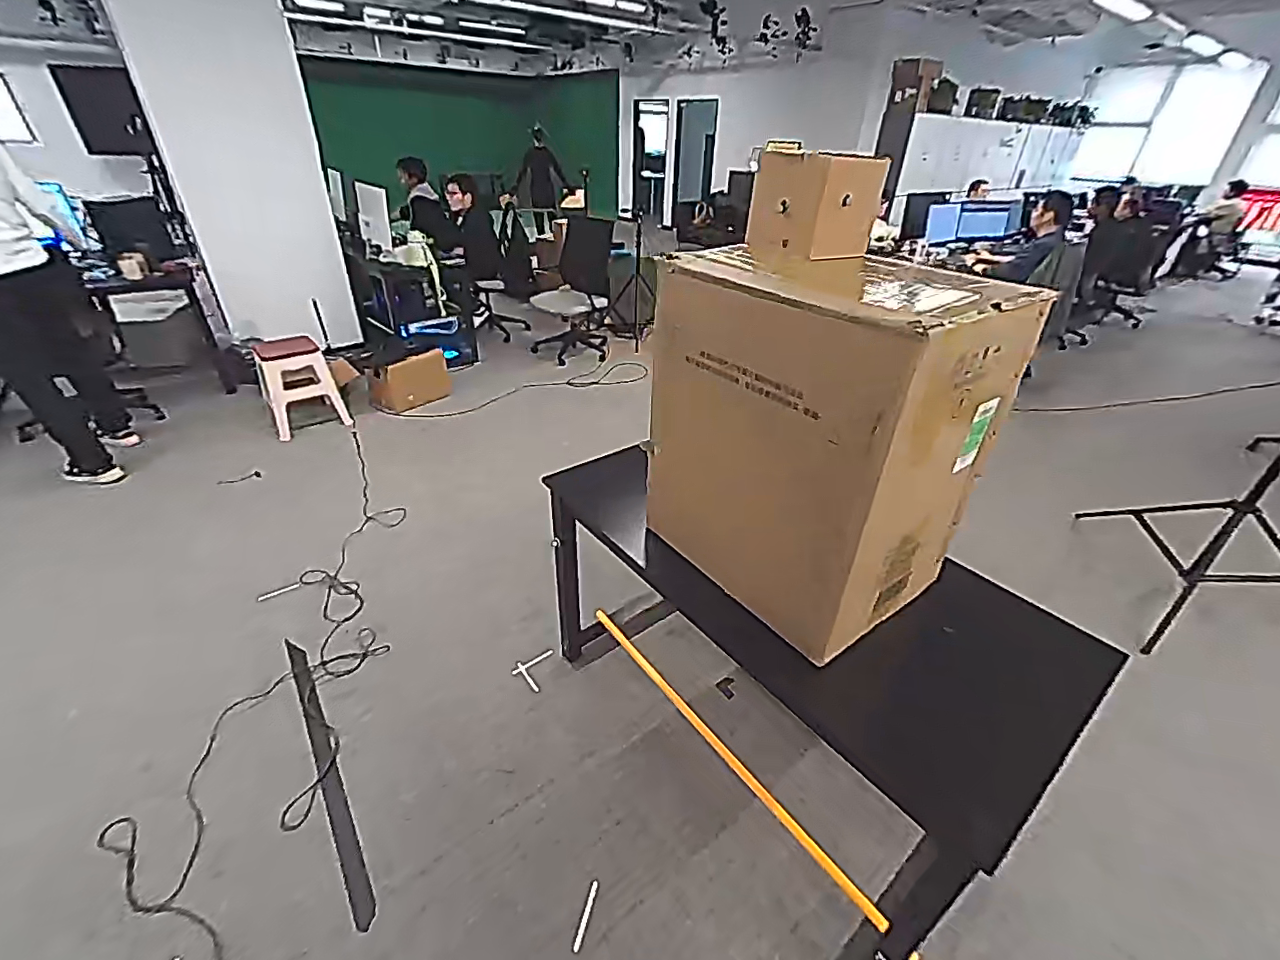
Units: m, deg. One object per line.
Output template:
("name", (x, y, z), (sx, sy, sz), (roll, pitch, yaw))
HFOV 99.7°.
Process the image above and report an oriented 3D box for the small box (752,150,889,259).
("small box", (0.330, -0.520, 1.020), (0.179, 0.176, 0.168), (-19, 39, -31))
